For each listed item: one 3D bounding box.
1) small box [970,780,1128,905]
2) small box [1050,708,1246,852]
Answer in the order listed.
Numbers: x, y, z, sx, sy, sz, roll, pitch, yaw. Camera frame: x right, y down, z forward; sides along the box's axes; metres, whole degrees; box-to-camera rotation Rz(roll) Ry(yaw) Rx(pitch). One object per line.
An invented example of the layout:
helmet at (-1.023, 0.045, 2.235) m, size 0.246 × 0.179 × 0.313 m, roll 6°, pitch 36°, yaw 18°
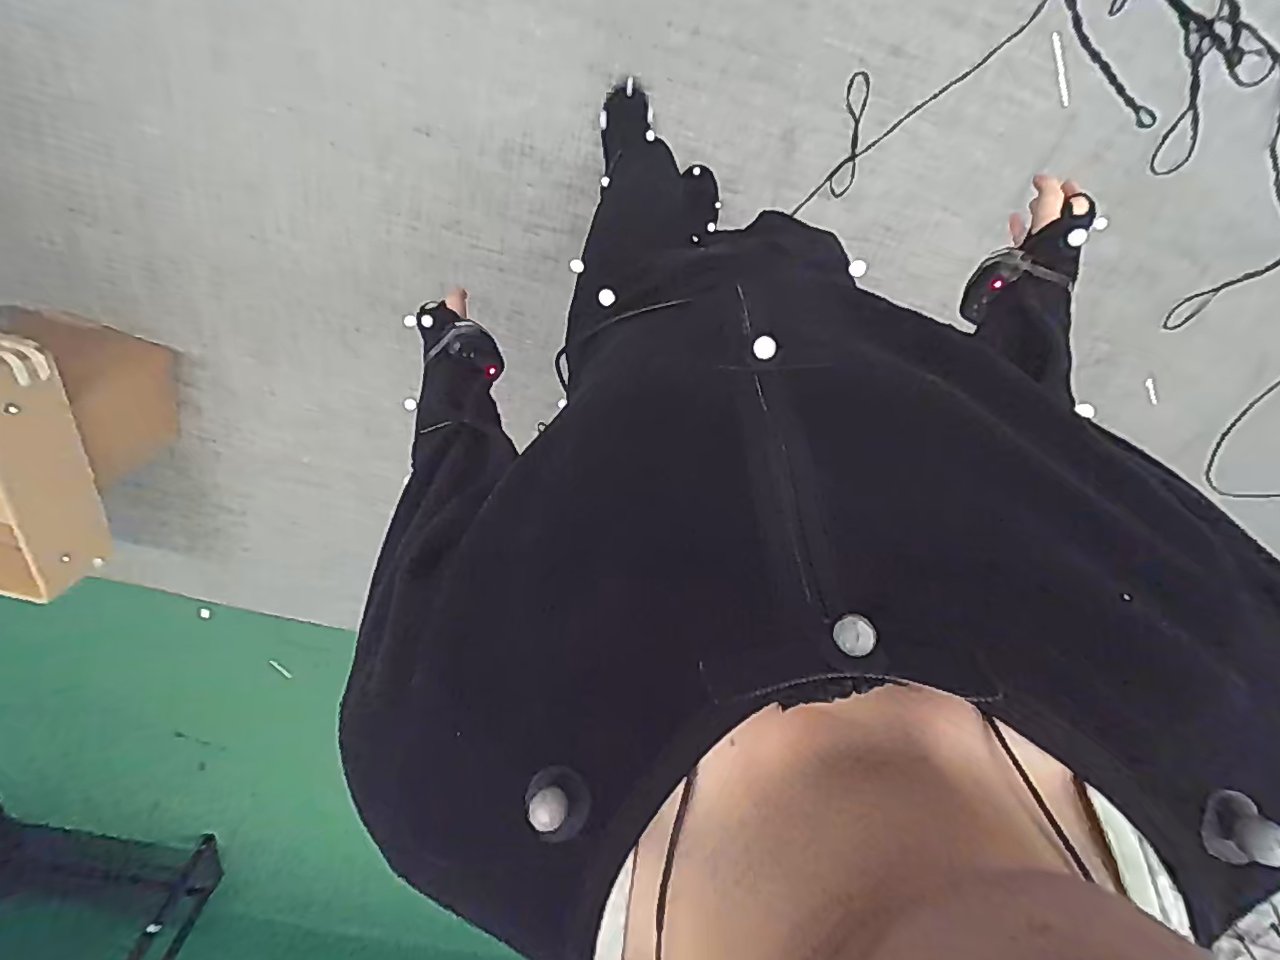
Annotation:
small box at (0.872, 0.782, 1.174) m, size 0.179 × 0.176 × 0.168 m, roll 12°, pitch 122°, yaw -4°
small box at (0.950, 0.566, 1.034) m, size 0.179 × 0.176 × 0.168 m, roll 17°, pitch 122°, yaw -7°
